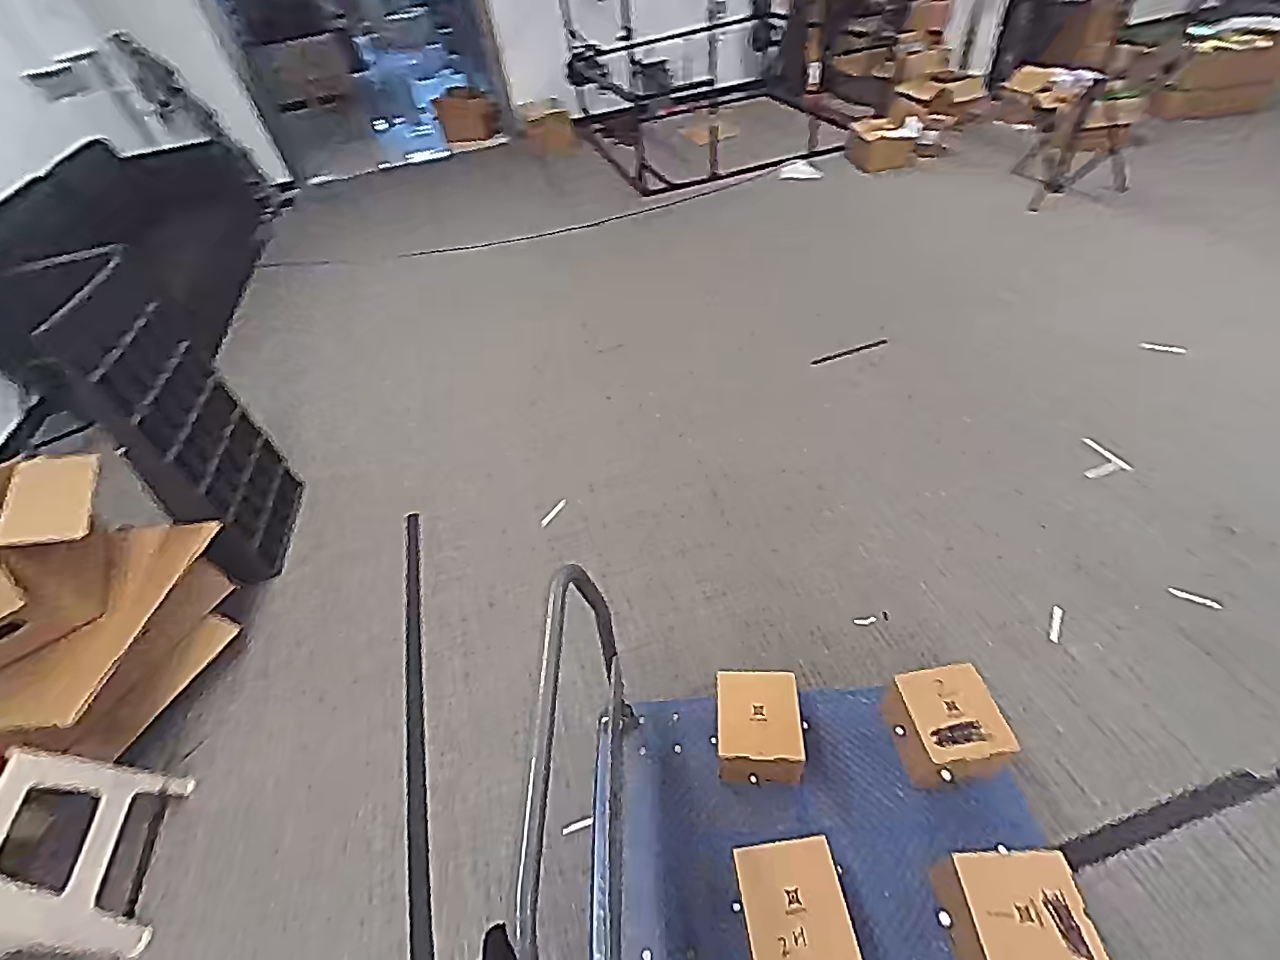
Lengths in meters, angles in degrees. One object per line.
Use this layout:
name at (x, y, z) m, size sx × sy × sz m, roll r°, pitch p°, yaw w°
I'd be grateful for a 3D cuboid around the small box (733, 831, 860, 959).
small box at (0.259, 0.744, 0.945) m, size 0.168 × 0.176 × 0.179 m, roll -9°, pitch 45°, yaw 1°

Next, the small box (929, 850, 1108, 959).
small box at (0.615, 0.728, 0.900) m, size 0.179 × 0.176 × 0.168 m, roll -5°, pitch 46°, yaw 6°

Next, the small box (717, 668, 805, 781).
small box at (0.250, 0.524, 1.160) m, size 0.168 × 0.176 × 0.179 m, roll -2°, pitch 48°, yaw 7°
